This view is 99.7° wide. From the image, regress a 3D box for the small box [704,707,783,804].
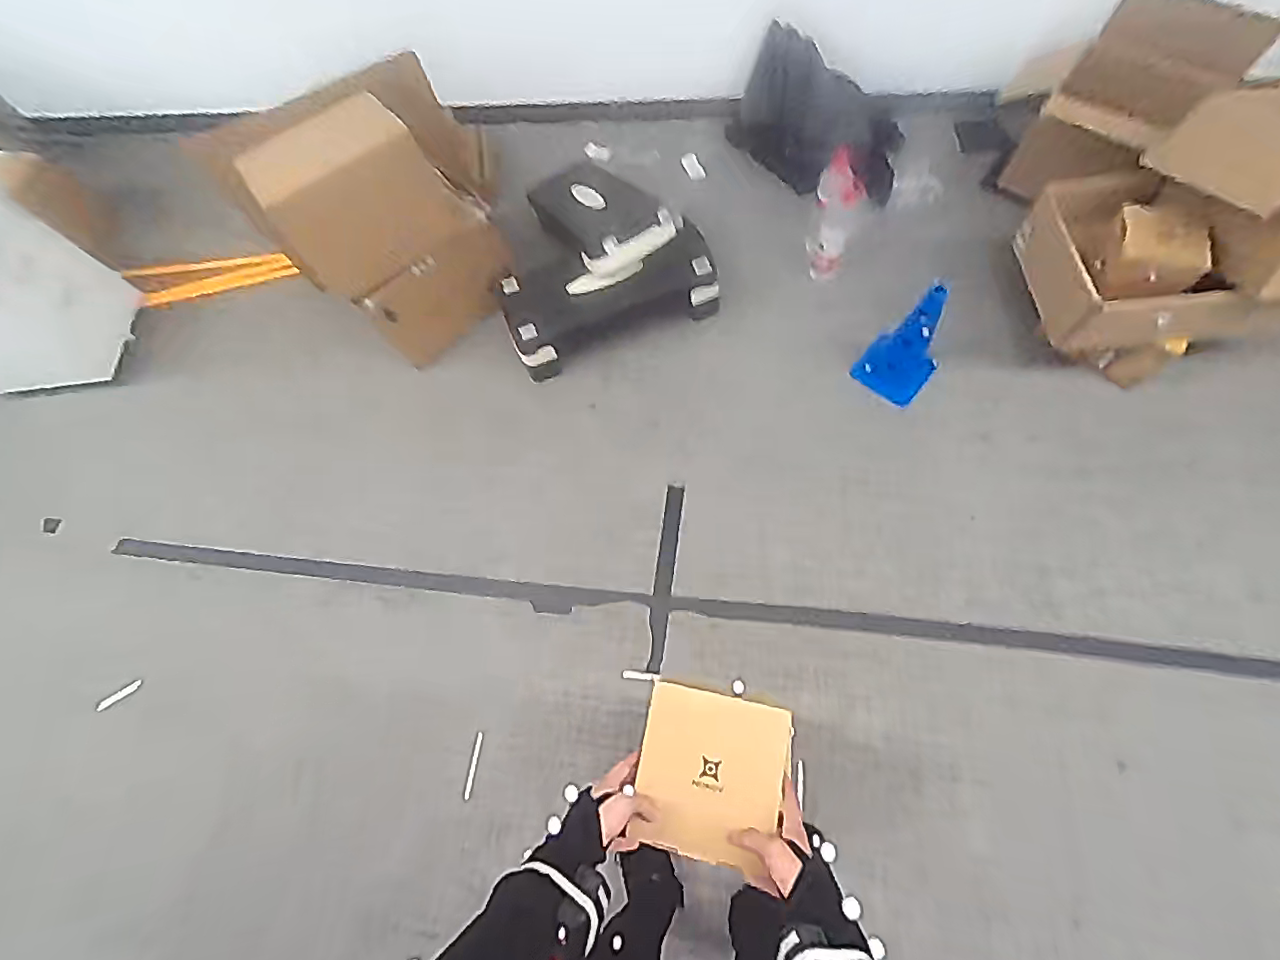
[{"bbox_3d":[0.234,0.622,1.242,0.168,0.176,0.179,2,69,8],"label":"small box"}]
